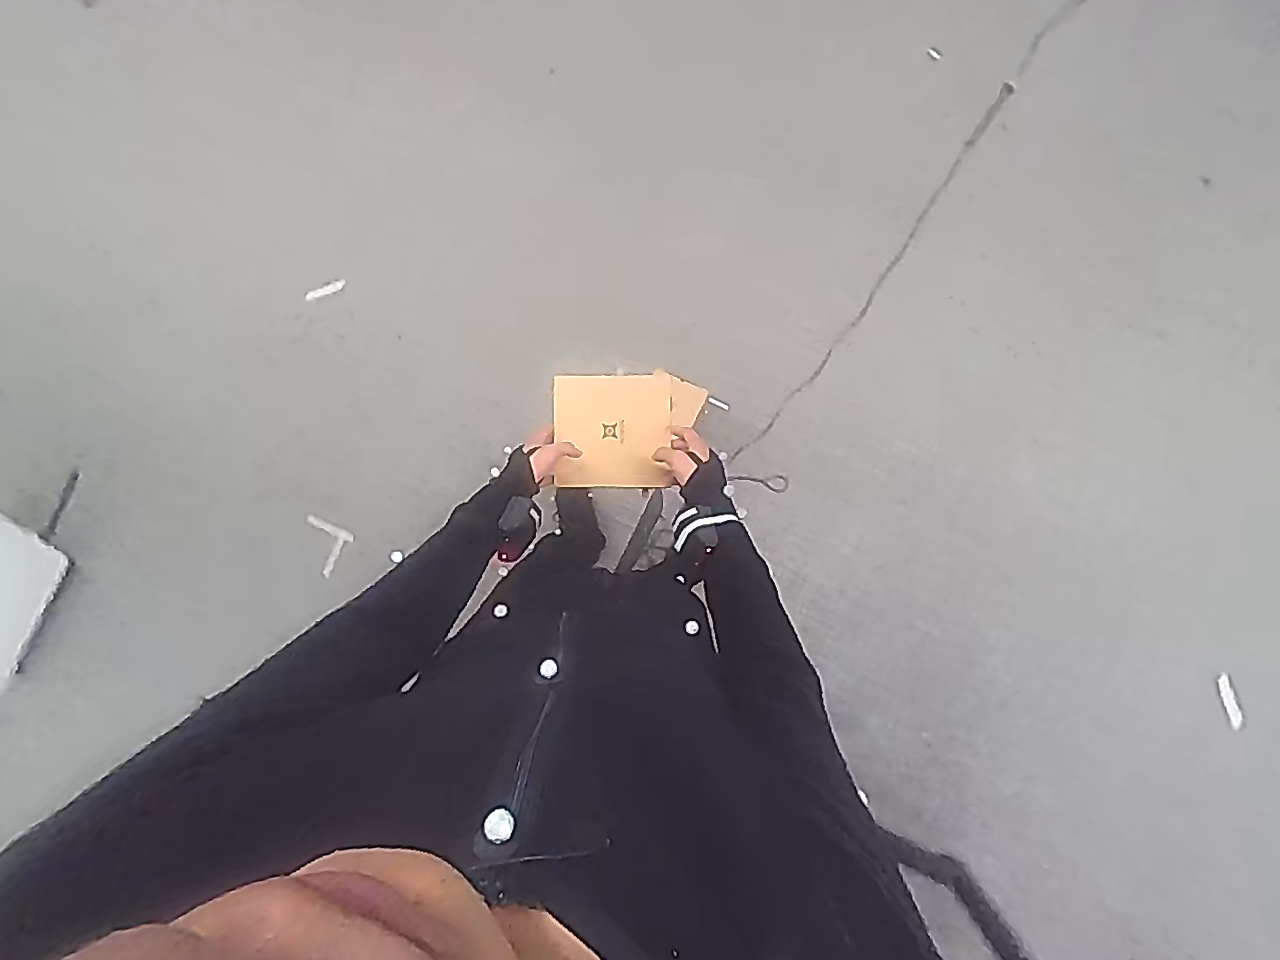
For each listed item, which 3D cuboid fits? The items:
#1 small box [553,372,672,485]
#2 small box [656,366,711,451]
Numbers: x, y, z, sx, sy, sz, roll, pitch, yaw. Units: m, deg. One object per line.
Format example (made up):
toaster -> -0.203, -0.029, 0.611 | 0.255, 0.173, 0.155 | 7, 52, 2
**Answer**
small box -> -0.039, -0.075, 0.868 | 0.179, 0.176, 0.168 | -1, 90, 0
small box -> 0.093, -0.201, 1.565 | 0.168, 0.176, 0.179 | 27, 90, 8
